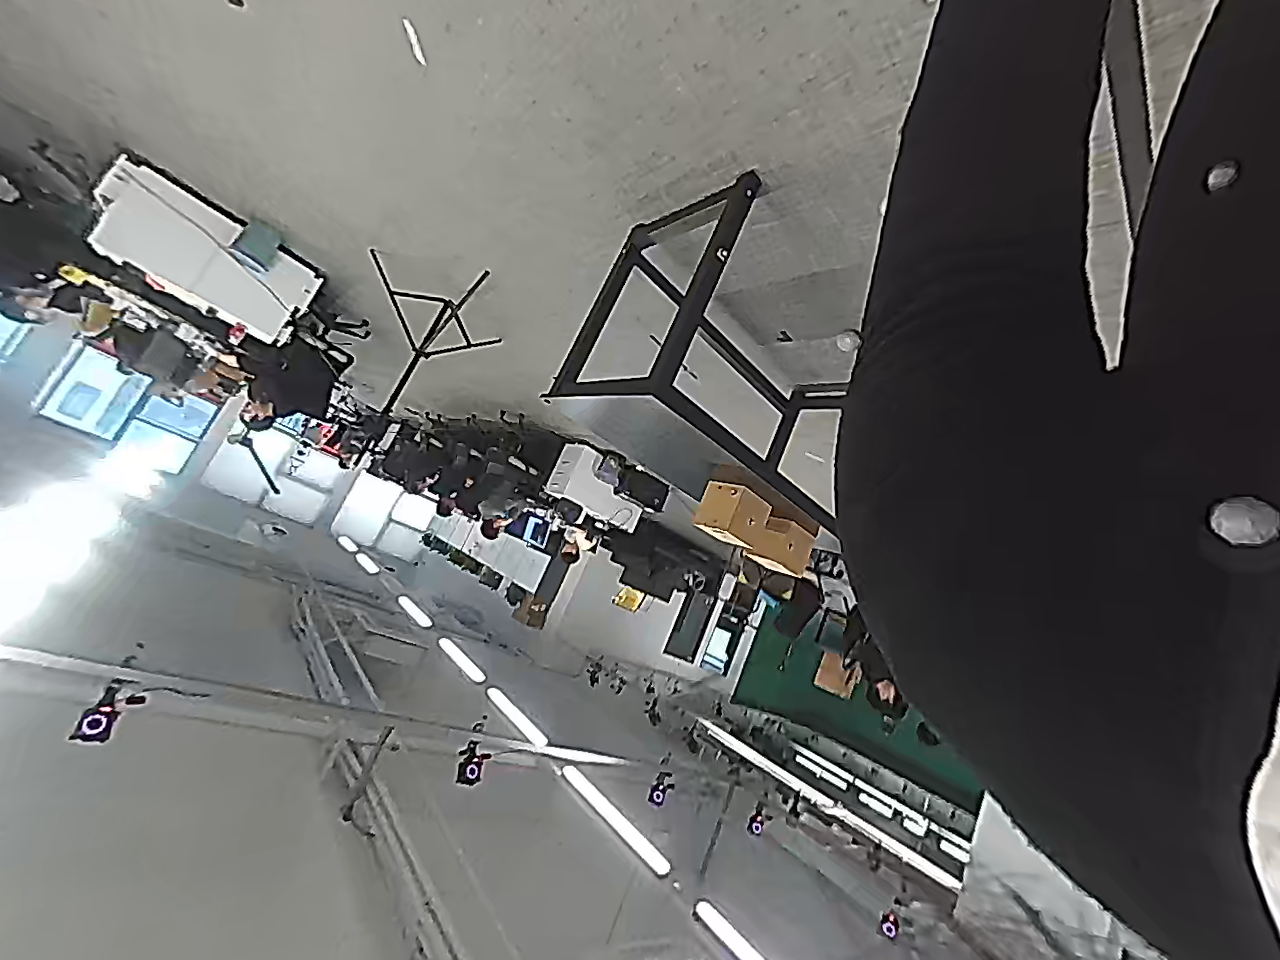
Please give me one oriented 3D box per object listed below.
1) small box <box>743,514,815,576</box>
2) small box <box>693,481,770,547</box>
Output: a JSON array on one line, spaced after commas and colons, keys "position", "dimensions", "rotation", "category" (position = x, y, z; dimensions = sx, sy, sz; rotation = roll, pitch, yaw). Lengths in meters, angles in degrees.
[{"position": [0.530, 0.241, 2.054], "dimensions": [0.179, 0.176, 0.168], "rotation": [31, 168, -34], "category": "small box"}, {"position": [0.322, 0.114, 1.886], "dimensions": [0.179, 0.176, 0.168], "rotation": [31, 168, -37], "category": "small box"}]
